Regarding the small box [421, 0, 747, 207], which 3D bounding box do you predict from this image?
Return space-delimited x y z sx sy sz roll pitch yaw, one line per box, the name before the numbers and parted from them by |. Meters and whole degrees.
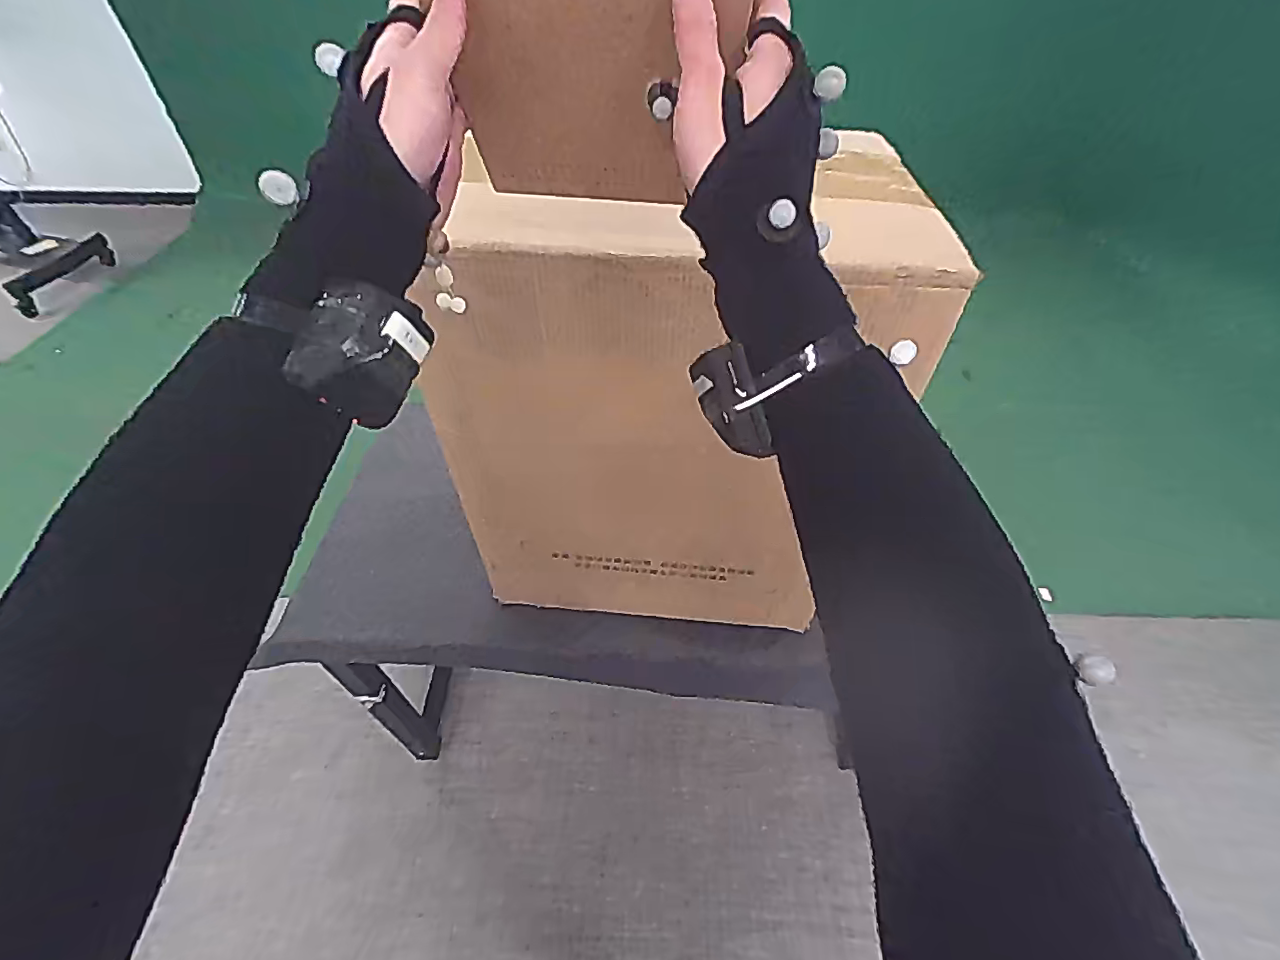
small box | -0.020 -0.310 0.358 0.179 0.176 0.168 6 75 5
